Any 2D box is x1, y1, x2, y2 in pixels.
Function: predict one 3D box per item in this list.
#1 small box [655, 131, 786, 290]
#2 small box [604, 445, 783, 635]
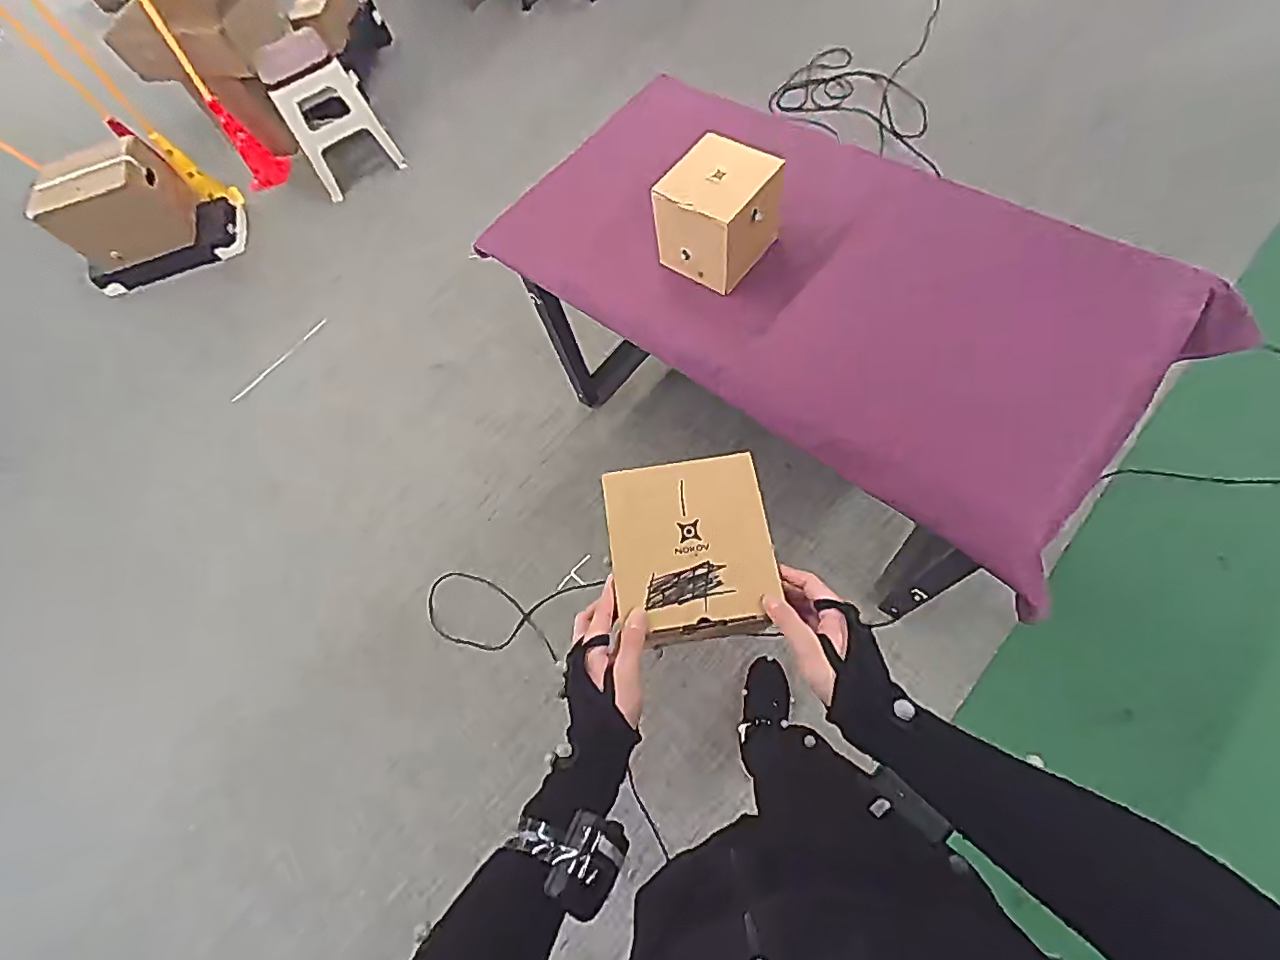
[{"bbox_3d":[0.148,-0.497,1.010,0.168,0.176,0.179,35,77,20],"label":"small box"},{"bbox_3d":[0.055,0.080,0.629,0.168,0.176,0.179,-8,68,0],"label":"small box"}]
